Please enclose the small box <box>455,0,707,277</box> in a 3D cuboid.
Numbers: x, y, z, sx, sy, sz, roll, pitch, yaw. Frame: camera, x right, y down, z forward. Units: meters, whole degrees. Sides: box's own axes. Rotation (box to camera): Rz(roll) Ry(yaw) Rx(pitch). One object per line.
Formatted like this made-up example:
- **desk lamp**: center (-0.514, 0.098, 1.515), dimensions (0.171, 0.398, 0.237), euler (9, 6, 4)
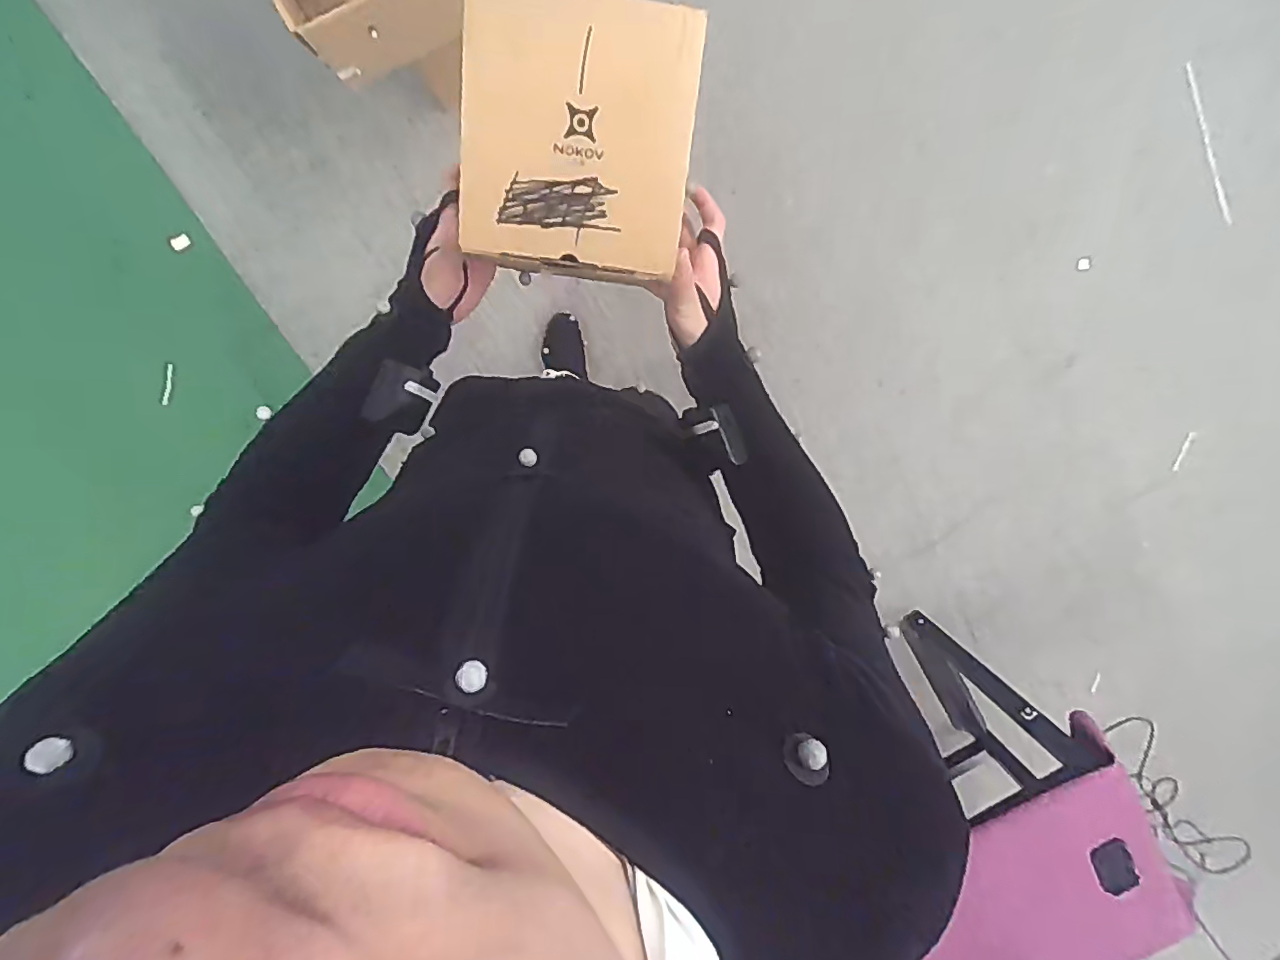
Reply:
- **small box**: center (-0.049, -0.275, 0.458), dimensions (0.168, 0.176, 0.179), euler (6, 107, -5)
